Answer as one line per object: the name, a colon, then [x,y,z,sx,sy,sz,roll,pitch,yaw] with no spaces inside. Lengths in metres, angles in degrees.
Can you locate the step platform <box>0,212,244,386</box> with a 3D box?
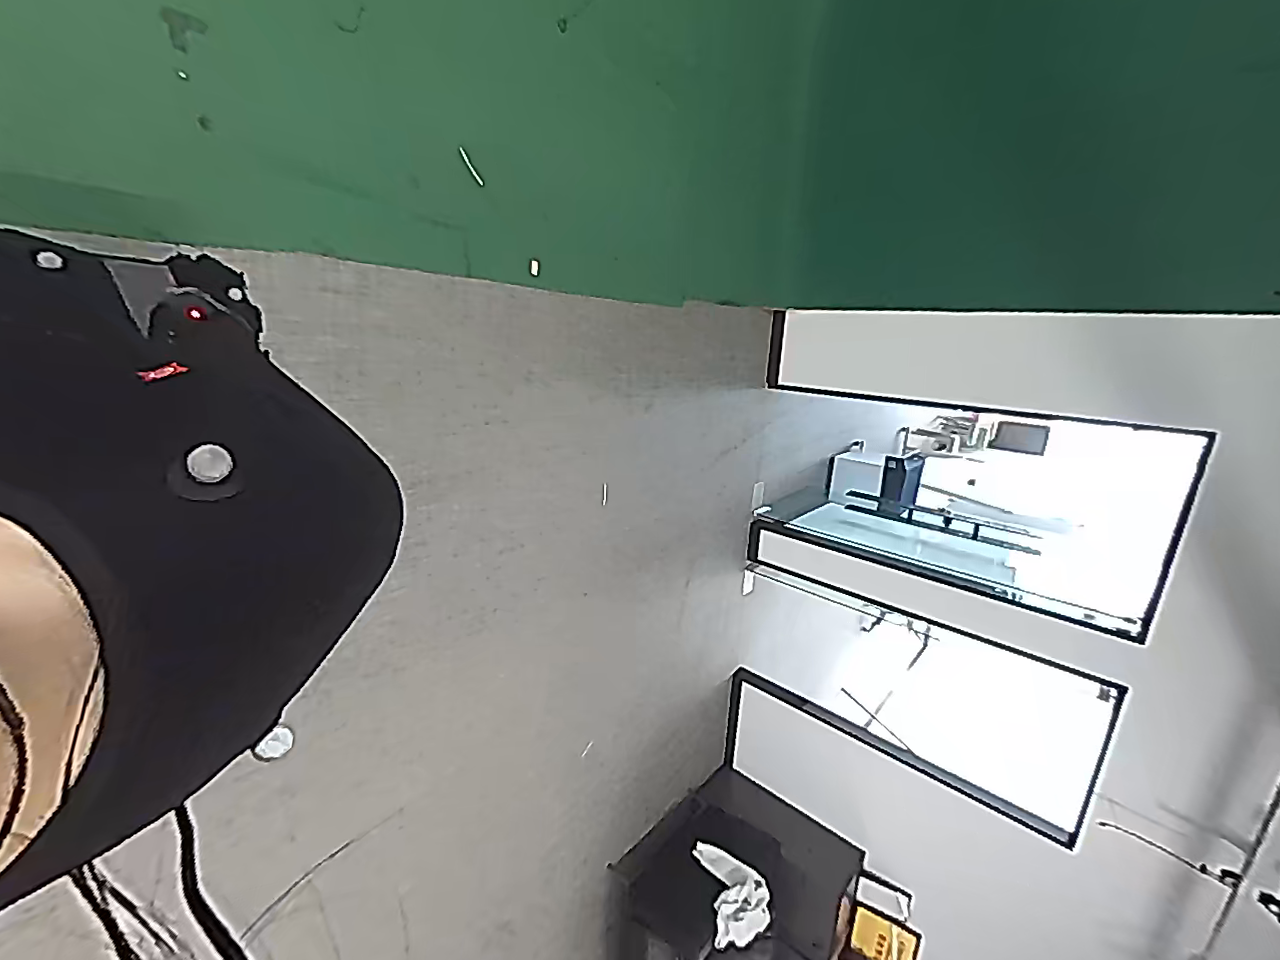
step platform: [-1.076,-0.294,0.872,0.684,0.204,0.286,-14,114,-46]
